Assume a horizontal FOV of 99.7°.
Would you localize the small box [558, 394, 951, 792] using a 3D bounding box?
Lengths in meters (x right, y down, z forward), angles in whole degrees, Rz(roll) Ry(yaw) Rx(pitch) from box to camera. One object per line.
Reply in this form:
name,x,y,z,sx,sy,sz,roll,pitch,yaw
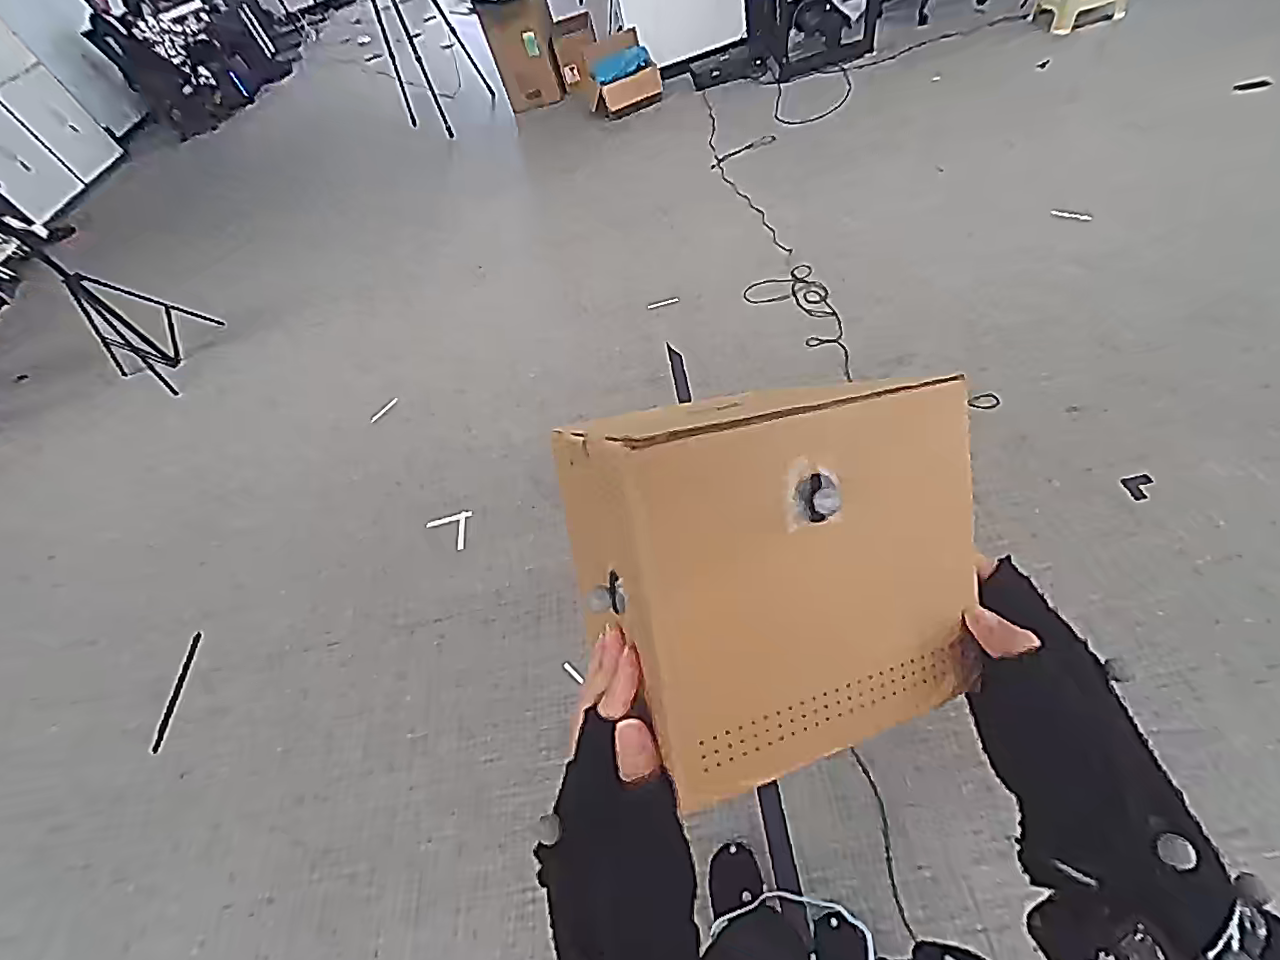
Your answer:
small box,0.063,0.049,0.334,0.179,0.176,0.168,-13,10,-18
